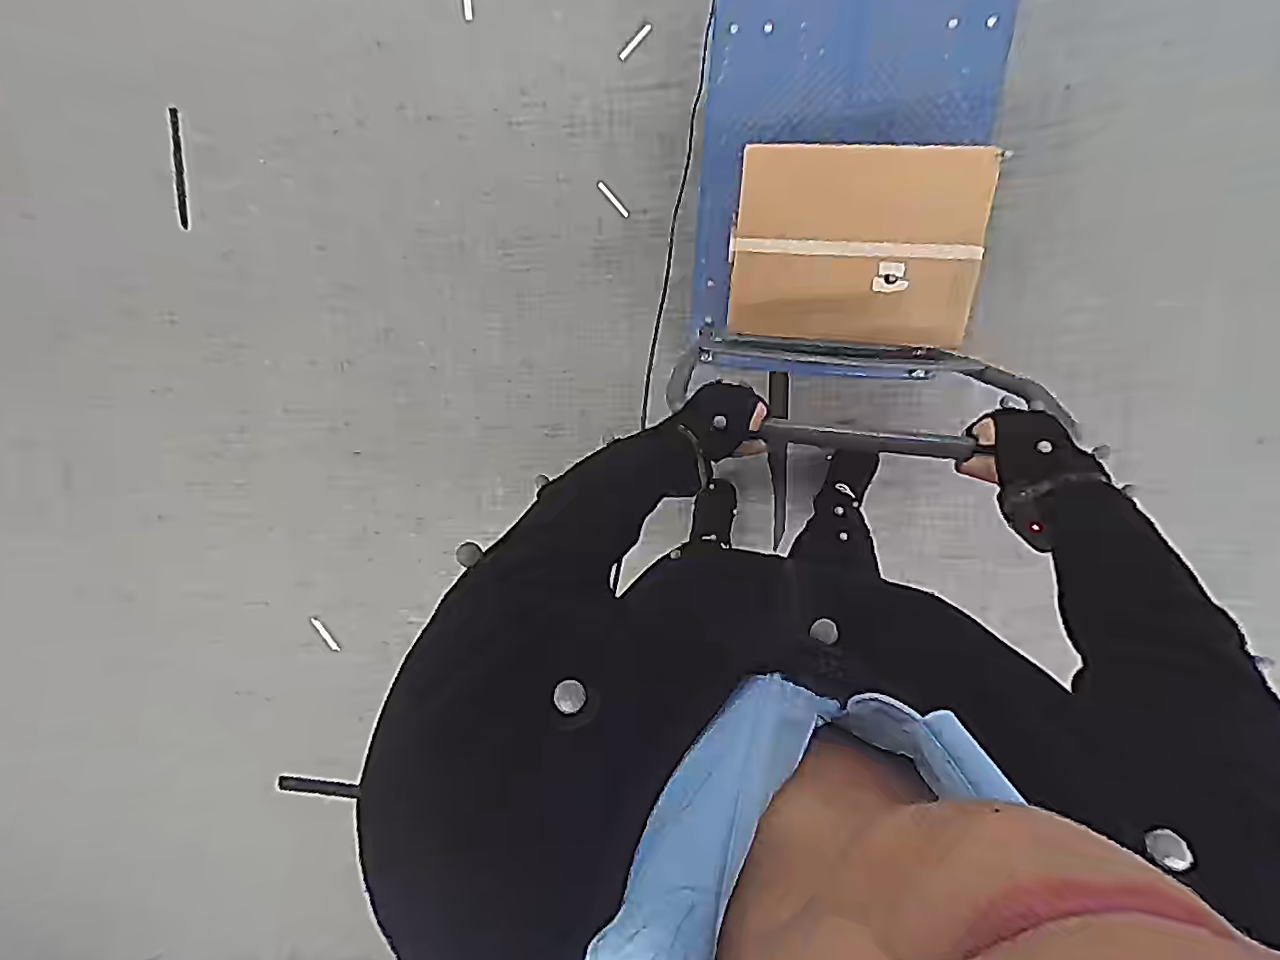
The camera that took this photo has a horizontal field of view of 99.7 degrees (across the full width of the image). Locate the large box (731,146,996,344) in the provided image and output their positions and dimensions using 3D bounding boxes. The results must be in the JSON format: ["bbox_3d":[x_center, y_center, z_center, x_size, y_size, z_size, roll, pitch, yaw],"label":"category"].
[{"bbox_3d":[0.395,-0.444,1.078,0.408,0.320,0.320,6,108,9],"label":"large box"}]
